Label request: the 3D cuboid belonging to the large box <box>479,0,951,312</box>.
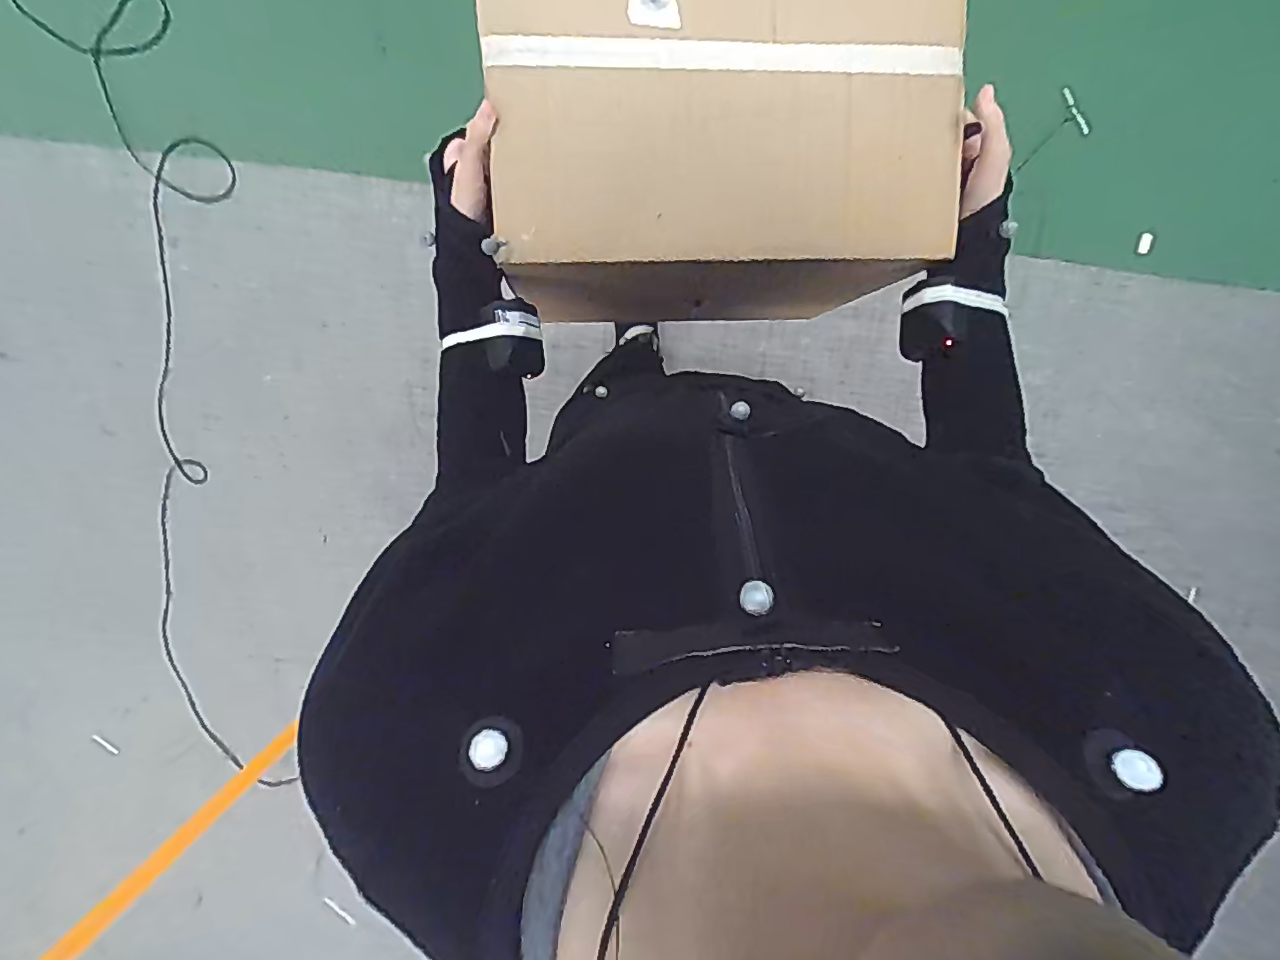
[{"bbox_3d":[0.059,-0.373,0.601,0.408,0.320,0.320,-3,97,-5],"label":"large box"}]
